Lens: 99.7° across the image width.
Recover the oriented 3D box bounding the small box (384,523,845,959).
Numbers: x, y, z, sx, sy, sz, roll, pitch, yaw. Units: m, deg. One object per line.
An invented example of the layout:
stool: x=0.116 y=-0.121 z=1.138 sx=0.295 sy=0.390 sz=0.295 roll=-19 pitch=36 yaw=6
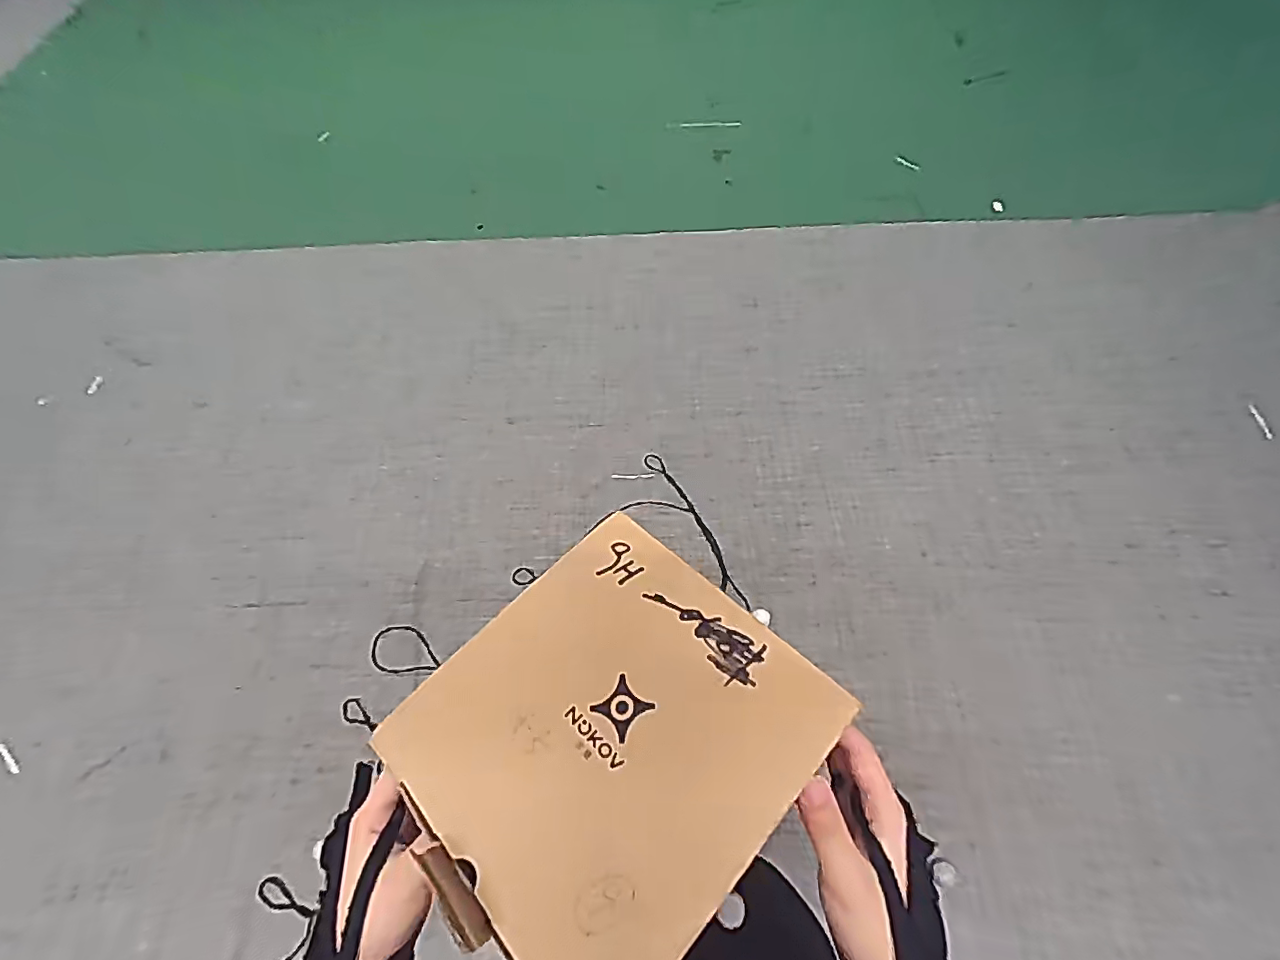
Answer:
small box: x=-0.006 y=0.167 z=0.330 sx=0.168 sy=0.176 sz=0.179 roll=36 pitch=66 yaw=28
